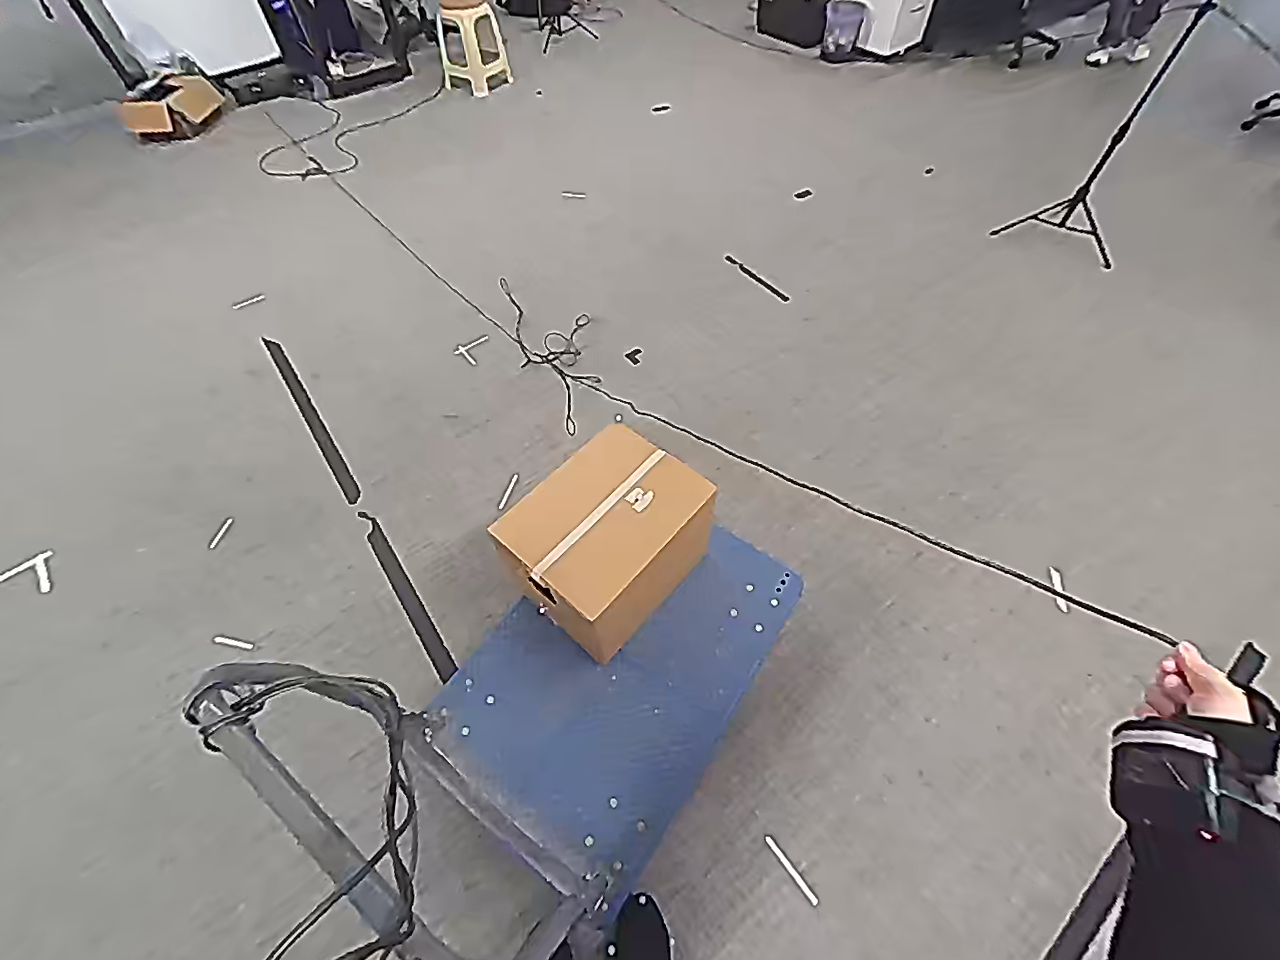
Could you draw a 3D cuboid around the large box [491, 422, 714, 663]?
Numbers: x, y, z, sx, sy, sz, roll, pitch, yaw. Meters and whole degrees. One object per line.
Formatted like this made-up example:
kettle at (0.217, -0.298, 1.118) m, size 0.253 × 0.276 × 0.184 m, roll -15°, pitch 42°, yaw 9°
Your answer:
large box at (-0.074, 0.148, 1.284) m, size 0.320 × 0.320 × 0.408 m, roll 36°, pitch 63°, yaw 22°
